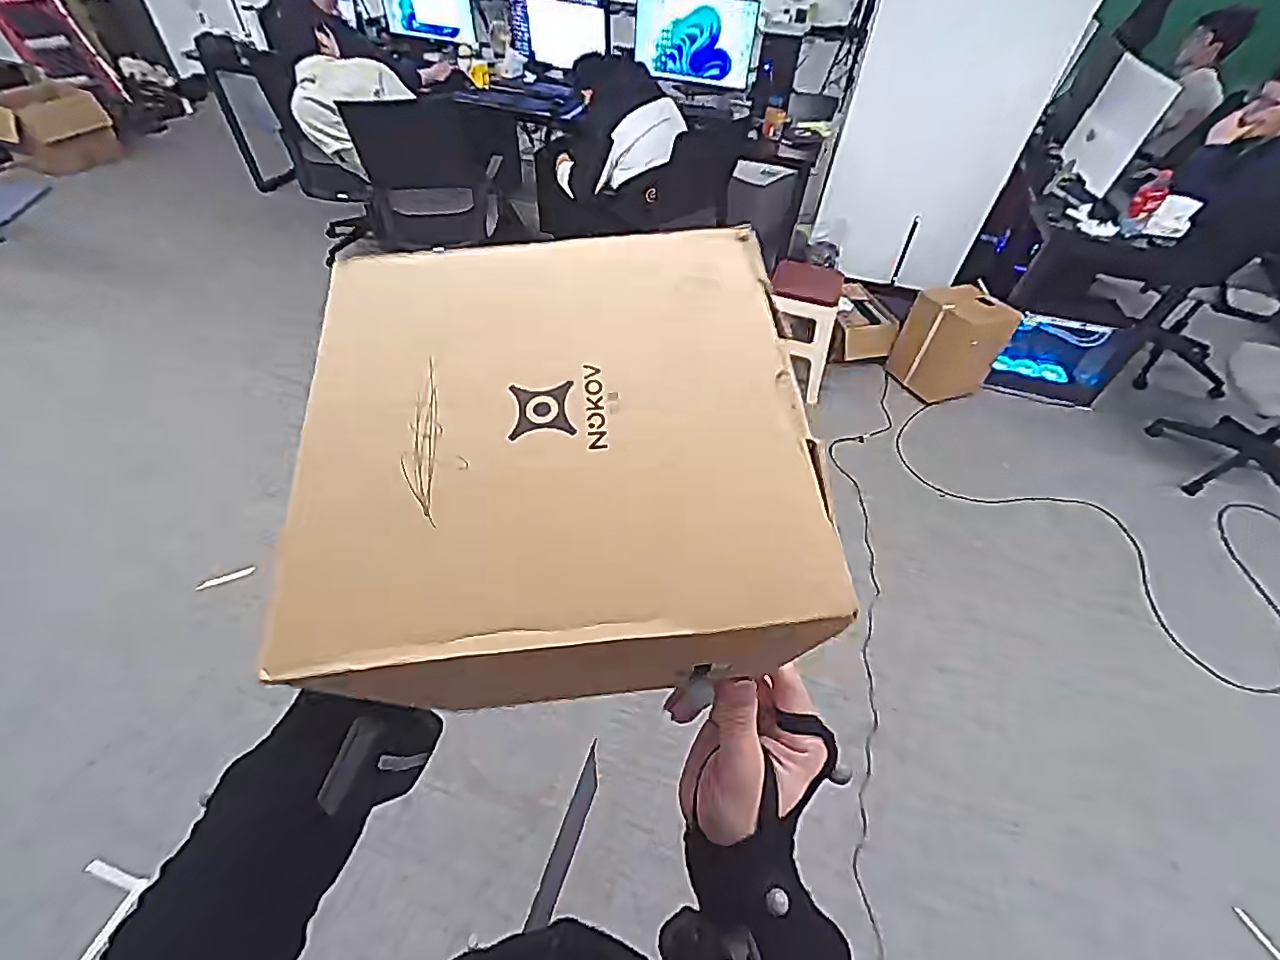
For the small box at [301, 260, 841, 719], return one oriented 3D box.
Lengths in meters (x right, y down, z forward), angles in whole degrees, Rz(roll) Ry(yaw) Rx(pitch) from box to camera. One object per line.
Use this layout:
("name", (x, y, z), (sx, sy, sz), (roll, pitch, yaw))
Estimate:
("small box", (-0.028, 0.020, 0.277), (0.179, 0.176, 0.168), (-8, 62, -2))
